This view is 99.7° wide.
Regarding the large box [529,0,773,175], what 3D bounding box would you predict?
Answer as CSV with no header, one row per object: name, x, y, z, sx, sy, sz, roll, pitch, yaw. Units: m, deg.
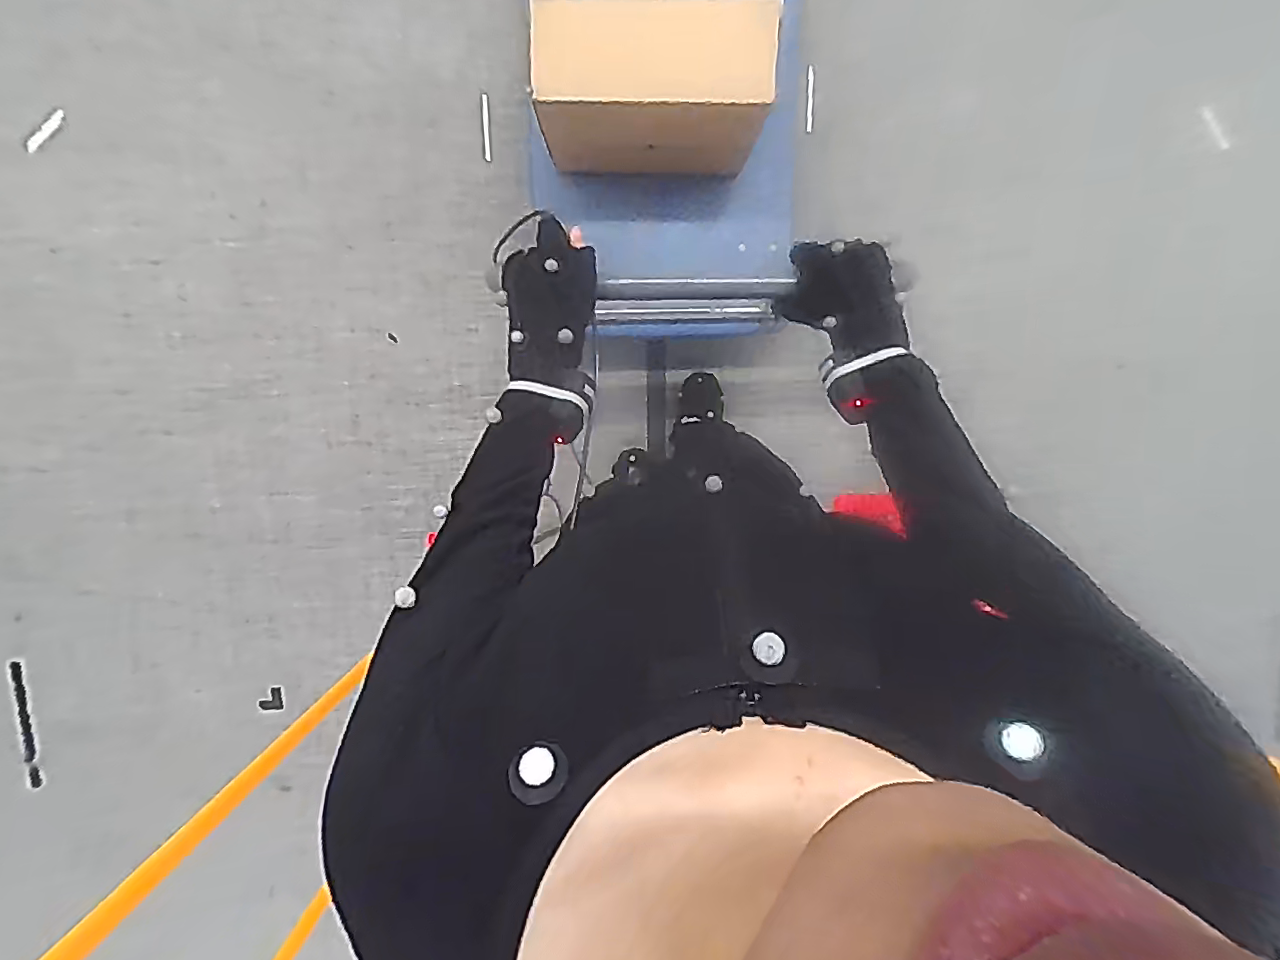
large box,0.020,-0.796,1.020,0.408,0.320,0.320,0,100,0

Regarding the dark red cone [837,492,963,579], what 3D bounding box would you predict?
dark red cone,0.639,0.159,1.305,0.201,0.394,0.202,-2,99,-2
